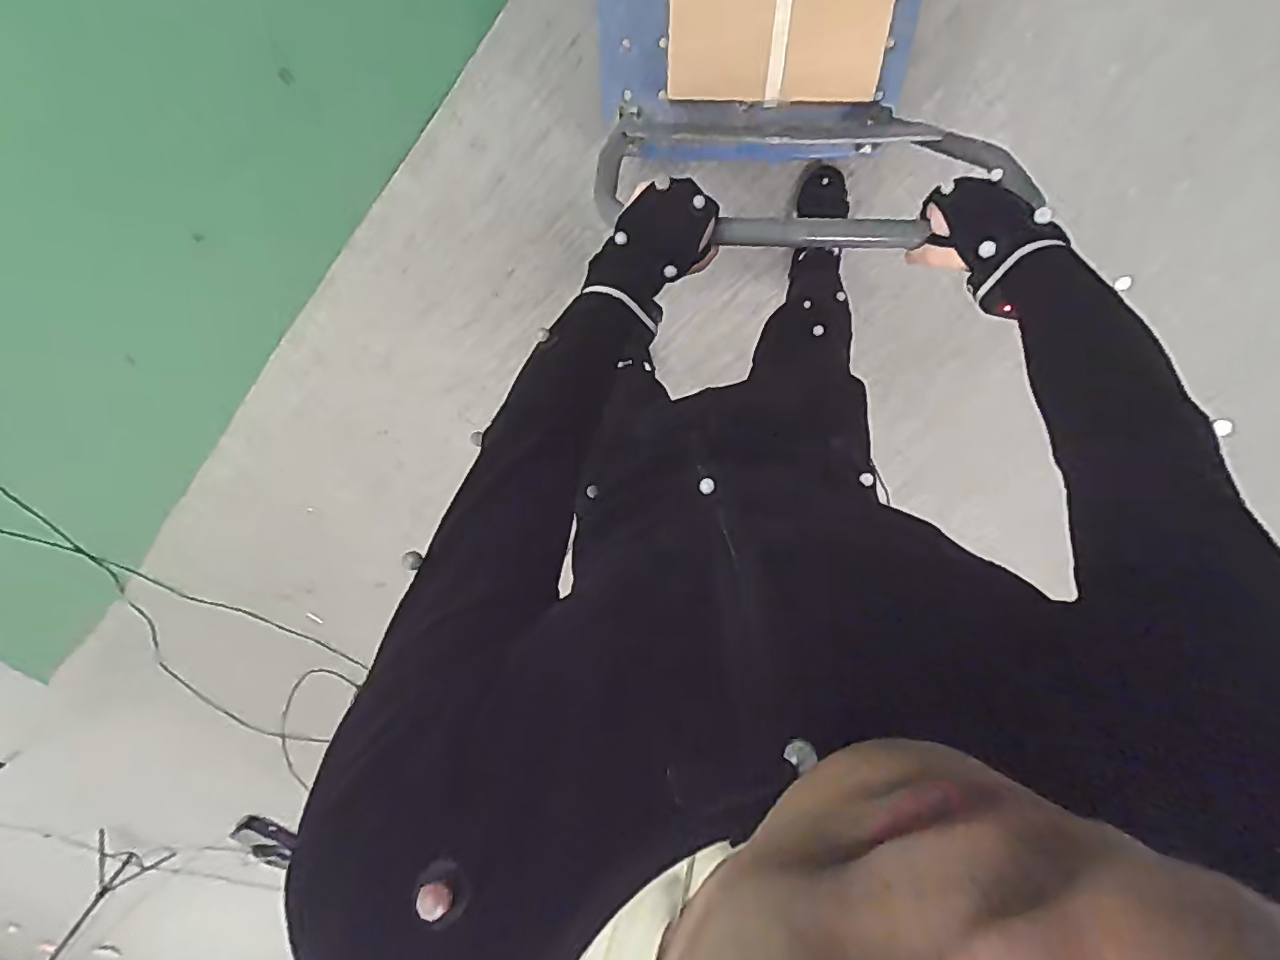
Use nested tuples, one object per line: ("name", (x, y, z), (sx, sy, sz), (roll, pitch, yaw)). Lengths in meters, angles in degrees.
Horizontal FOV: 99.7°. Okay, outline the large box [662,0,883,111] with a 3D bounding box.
("large box", (0.201, -0.827, 0.850), (0.320, 0.320, 0.408), (3, 124, 1))
